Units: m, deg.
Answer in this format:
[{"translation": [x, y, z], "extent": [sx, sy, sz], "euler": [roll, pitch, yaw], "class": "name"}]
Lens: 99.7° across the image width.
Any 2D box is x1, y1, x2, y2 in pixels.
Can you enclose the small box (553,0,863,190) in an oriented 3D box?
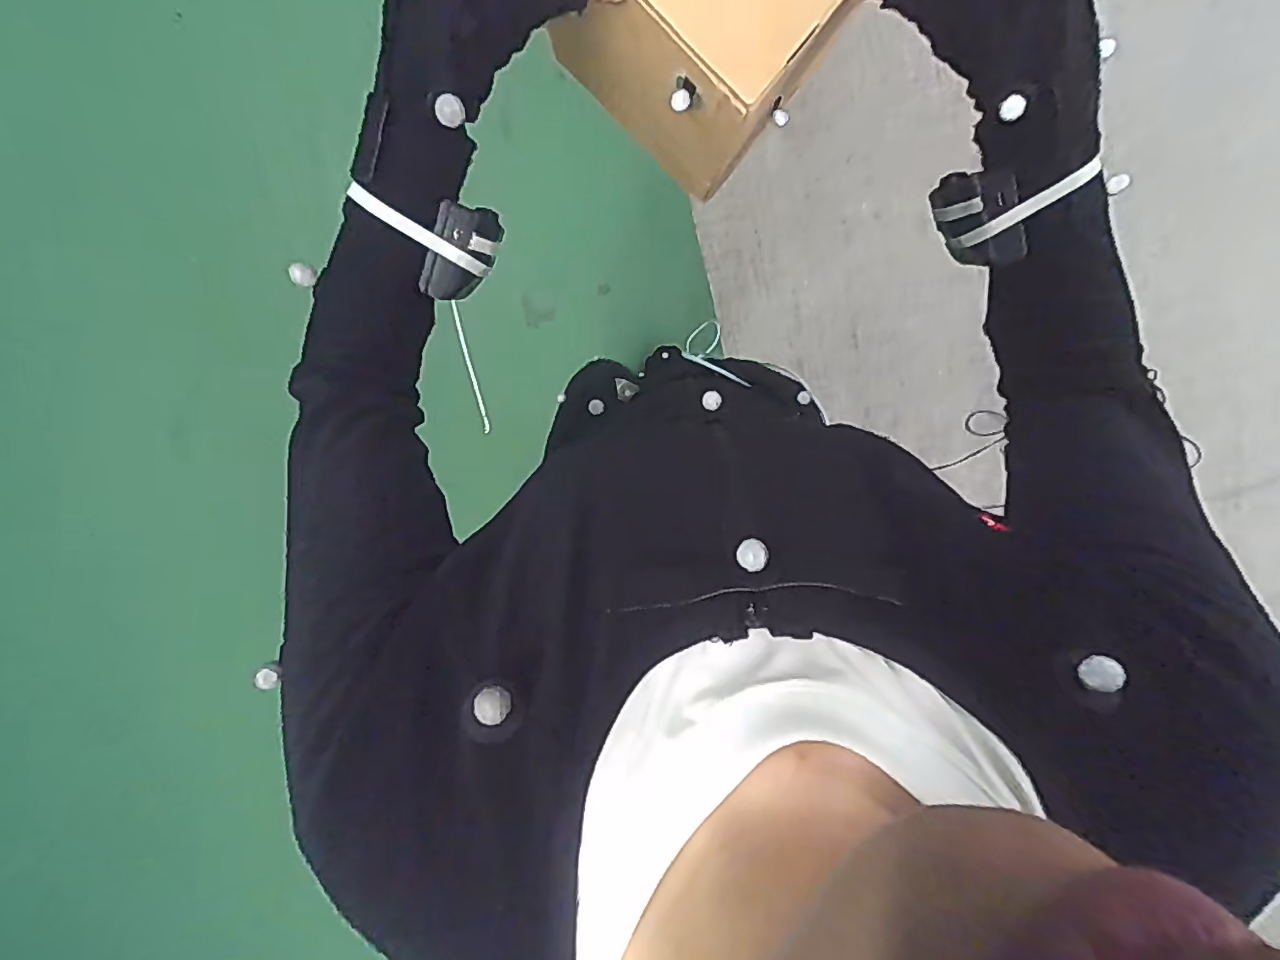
[{"translation": [0.048, -0.347, 0.379], "extent": [0.179, 0.176, 0.168], "euler": [40, 96, -9], "class": "small box"}]
